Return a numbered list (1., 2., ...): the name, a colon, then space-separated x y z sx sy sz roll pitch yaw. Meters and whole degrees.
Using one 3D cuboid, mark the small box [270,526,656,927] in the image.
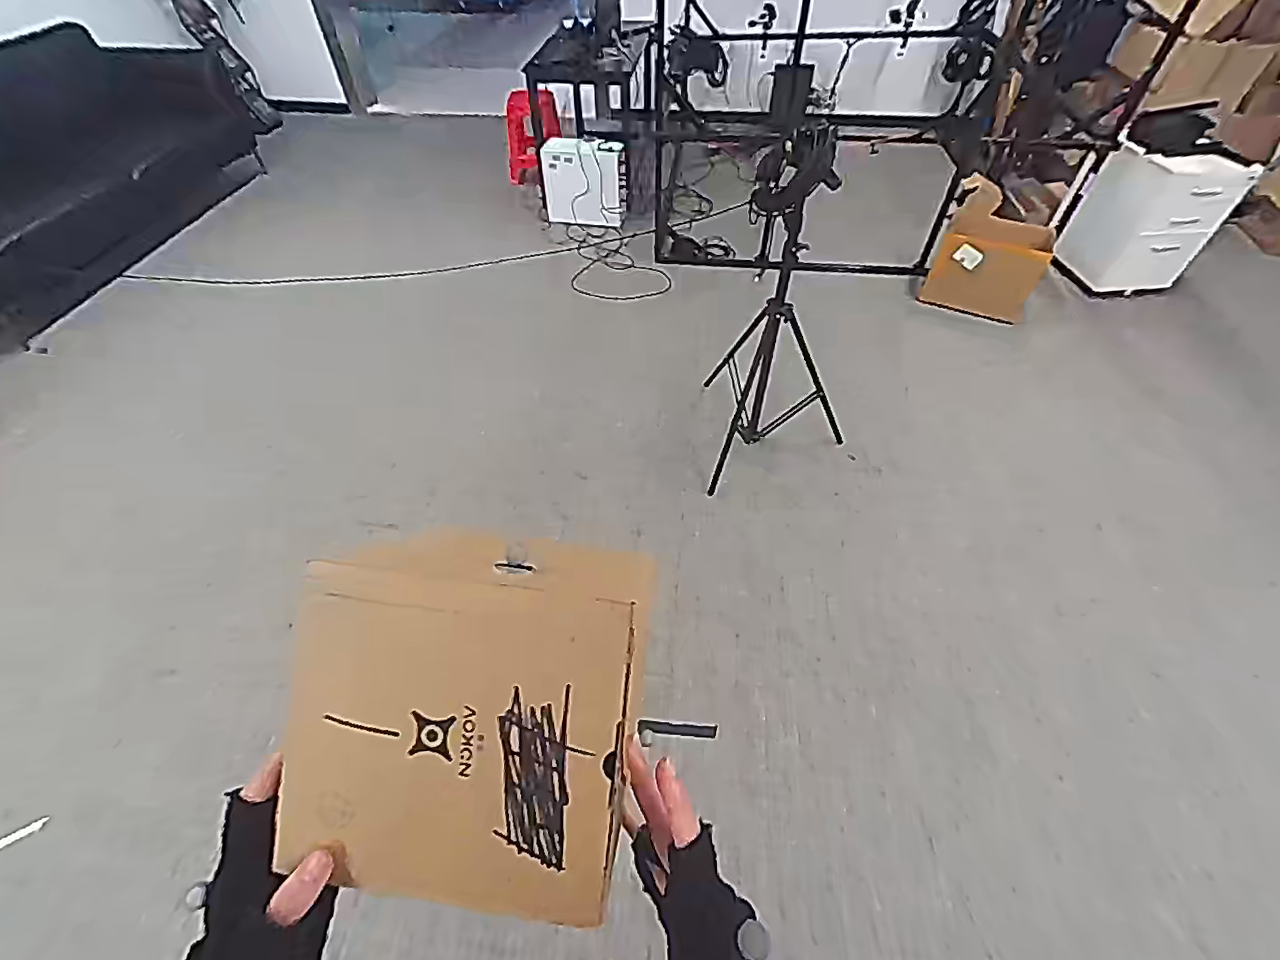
1. small box: -0.086 0.124 0.345 0.179 0.176 0.168 6 91 6
